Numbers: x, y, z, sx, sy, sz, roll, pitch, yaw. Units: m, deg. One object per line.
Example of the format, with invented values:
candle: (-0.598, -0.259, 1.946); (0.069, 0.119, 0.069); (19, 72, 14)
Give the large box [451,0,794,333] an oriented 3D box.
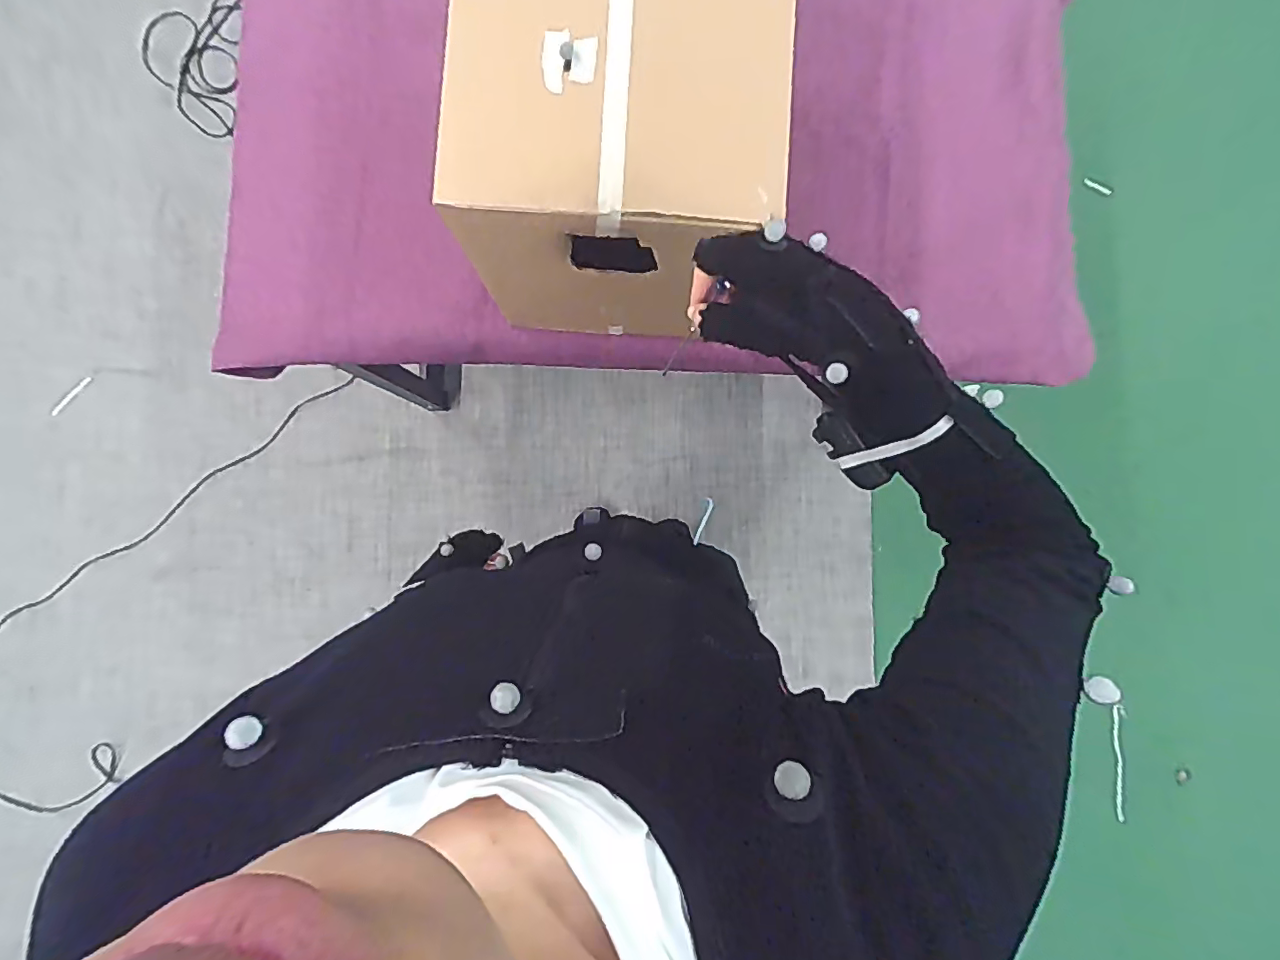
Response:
large box: (-0.015, -0.429, 0.651); (0.320, 0.320, 0.408); (4, 87, -1)
